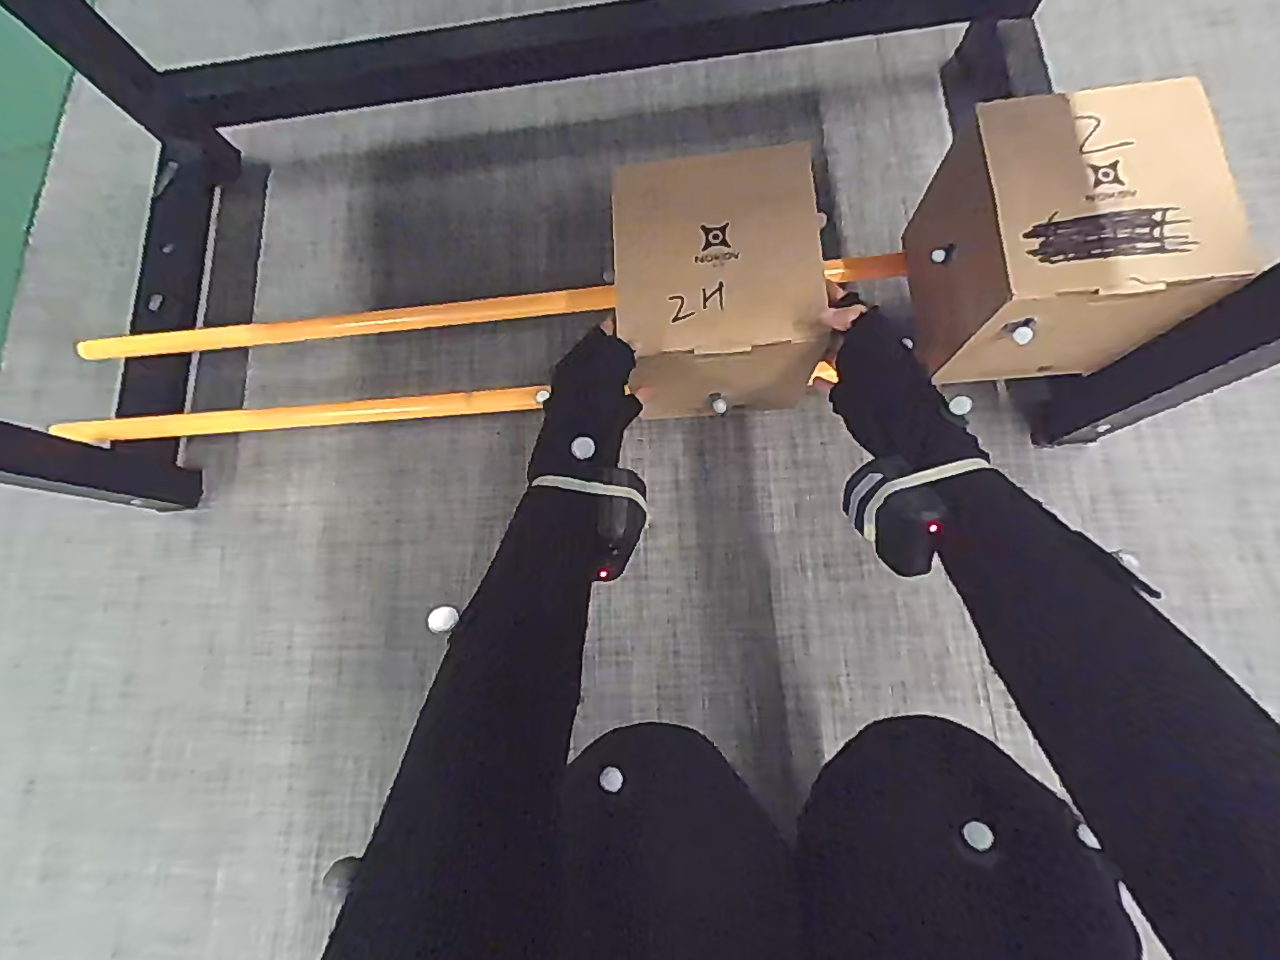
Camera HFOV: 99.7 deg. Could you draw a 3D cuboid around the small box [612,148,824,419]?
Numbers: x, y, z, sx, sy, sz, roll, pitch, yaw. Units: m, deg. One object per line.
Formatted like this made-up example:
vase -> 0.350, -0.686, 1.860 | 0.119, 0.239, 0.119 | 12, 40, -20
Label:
small box -> 0.067, -0.171, 0.516 | 0.168, 0.176, 0.179 | -4, 78, 7
